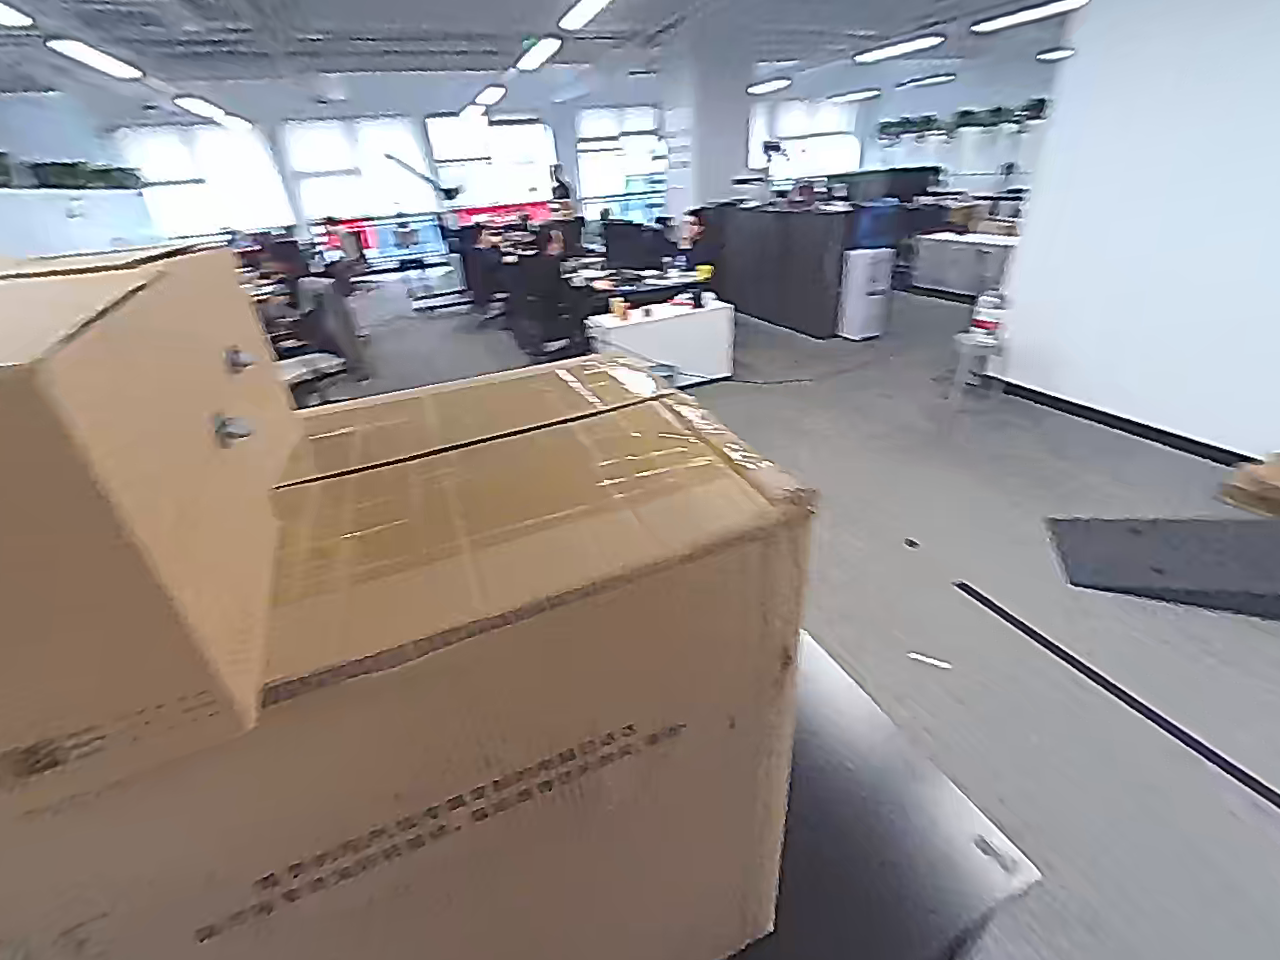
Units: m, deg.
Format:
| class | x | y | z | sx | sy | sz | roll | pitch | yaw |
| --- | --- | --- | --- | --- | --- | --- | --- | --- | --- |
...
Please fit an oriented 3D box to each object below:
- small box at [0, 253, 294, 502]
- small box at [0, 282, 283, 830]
| class | x | y | z | sx | sy | sz | roll | pitch | yaw |
| --- | --- | --- | --- | --- | --- | --- | --- | --- | --- |
| small box | -0.371 | -0.056 | 0.380 | 0.168 | 0.176 | 0.179 | -14 | 30 | -16 |
| small box | -0.276 | 0.023 | 0.232 | 0.168 | 0.176 | 0.179 | -17 | 35 | -23 |
